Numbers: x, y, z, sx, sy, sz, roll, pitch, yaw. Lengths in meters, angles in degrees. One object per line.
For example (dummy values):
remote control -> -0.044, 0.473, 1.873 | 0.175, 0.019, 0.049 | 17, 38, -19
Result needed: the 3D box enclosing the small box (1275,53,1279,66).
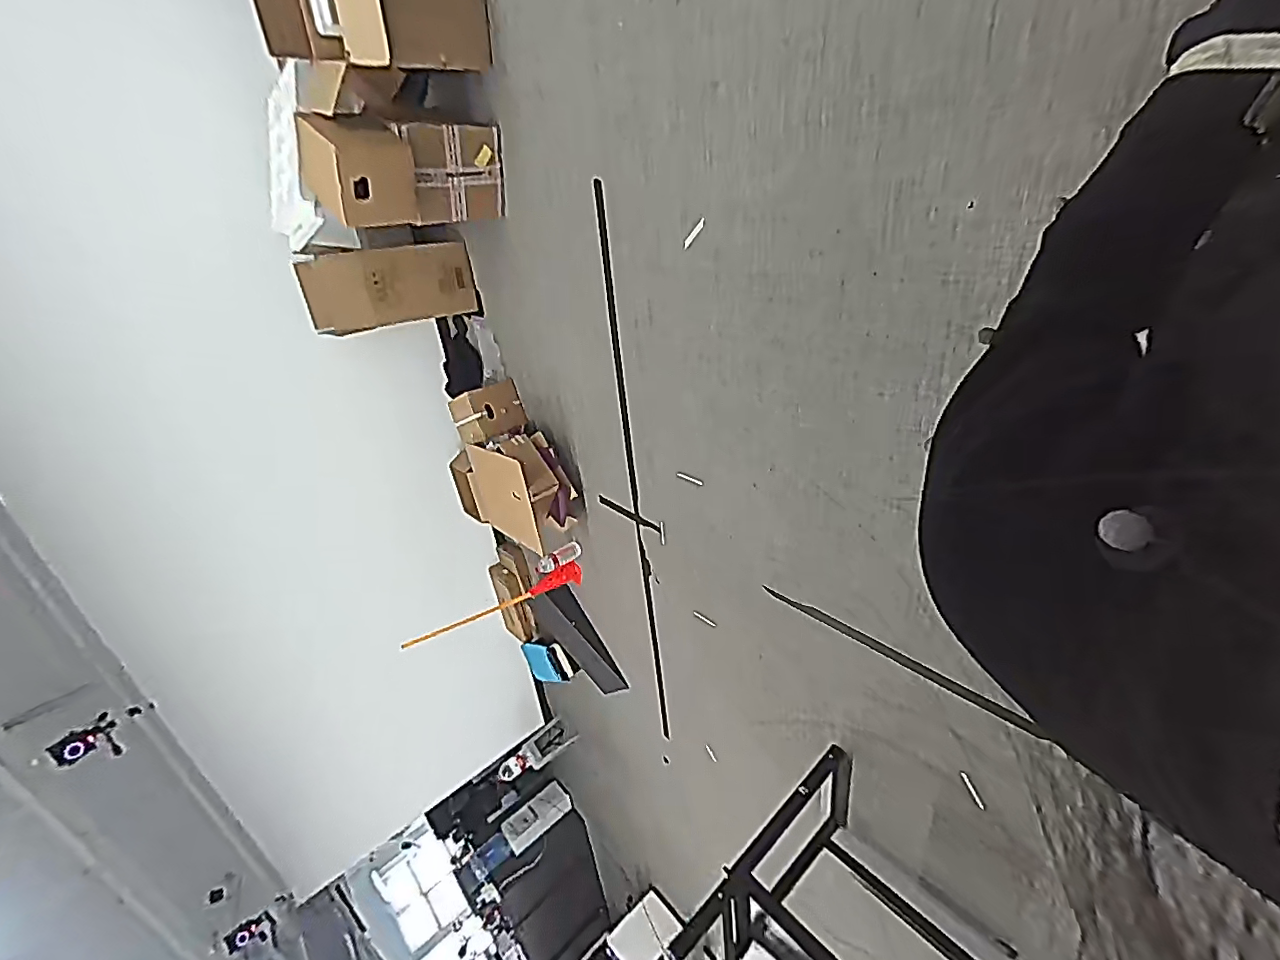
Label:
small box -> 0.937, -0.594, 0.644 | 0.179, 0.176, 0.168 | 32, 136, 39
